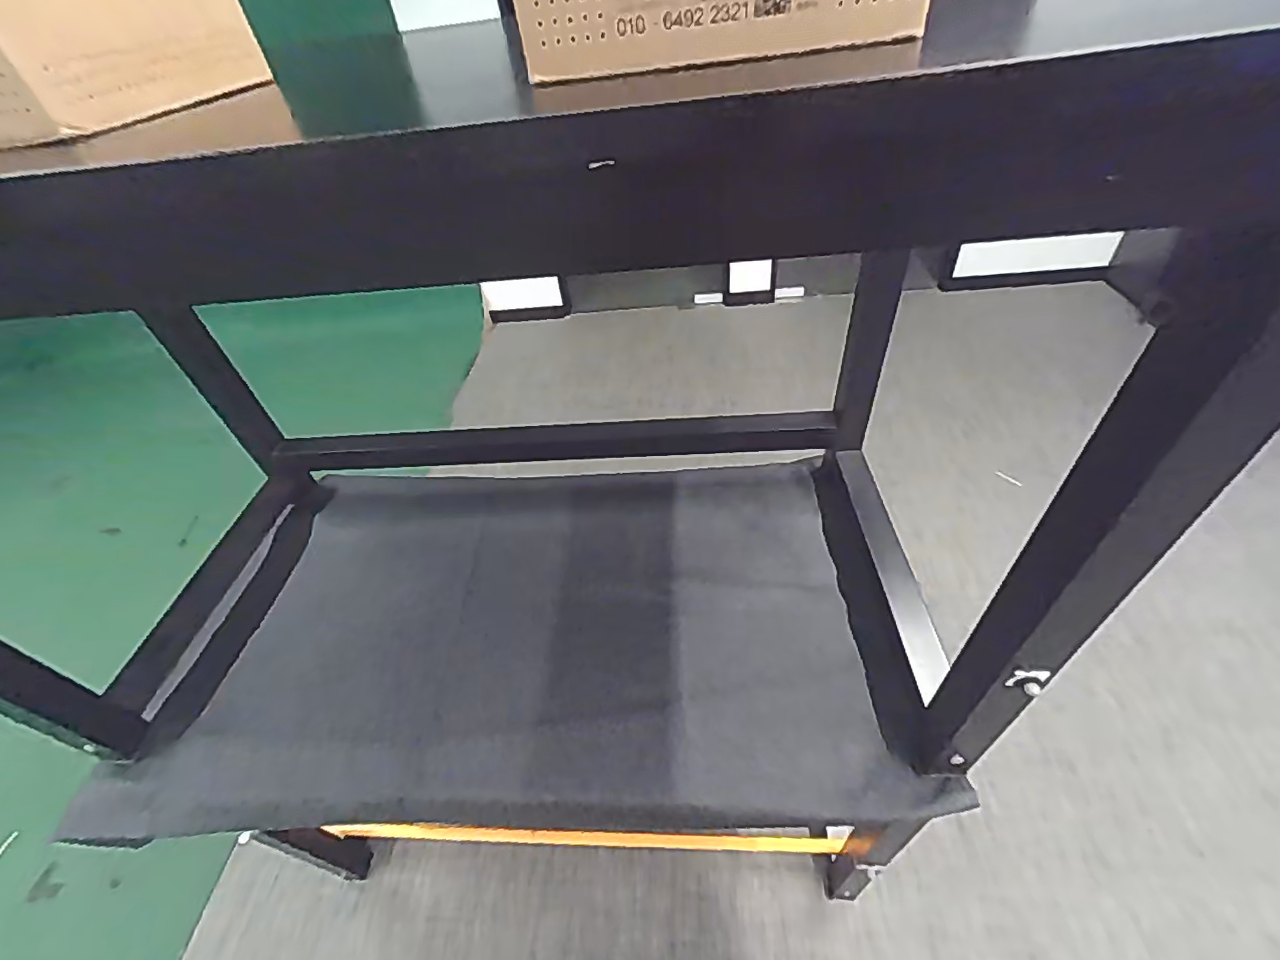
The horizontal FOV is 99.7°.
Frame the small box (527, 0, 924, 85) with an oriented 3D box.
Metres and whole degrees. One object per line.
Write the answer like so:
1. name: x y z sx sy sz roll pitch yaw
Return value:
1. small box: 0.033 -0.287 0.234 0.168 0.176 0.179 -1 44 7
